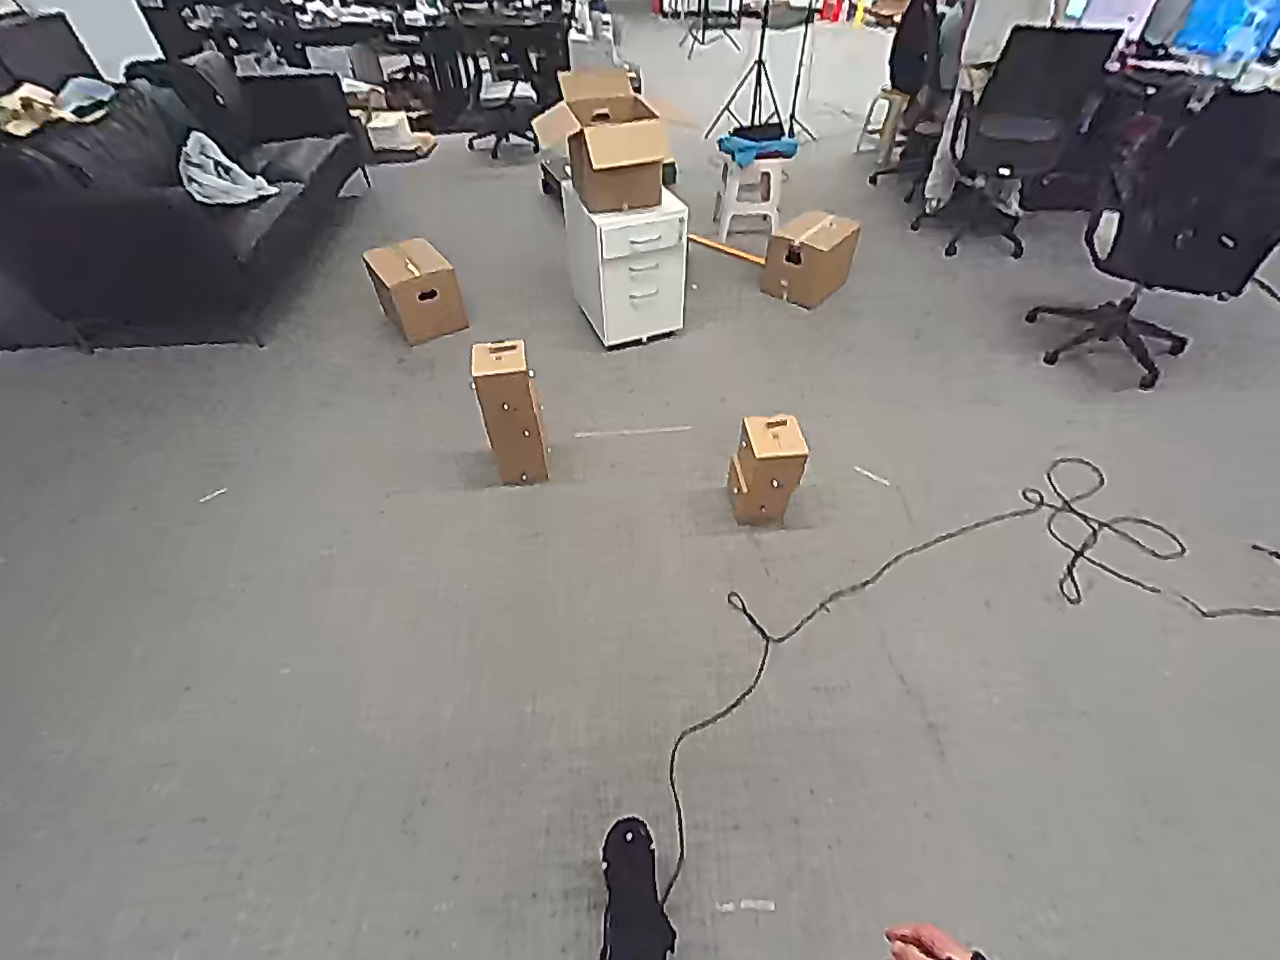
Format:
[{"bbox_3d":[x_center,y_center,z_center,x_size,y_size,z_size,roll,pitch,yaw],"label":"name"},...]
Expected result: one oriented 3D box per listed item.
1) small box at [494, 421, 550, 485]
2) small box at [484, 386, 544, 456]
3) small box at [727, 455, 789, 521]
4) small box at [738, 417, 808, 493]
[{"bbox_3d":[-0.428,-0.099,1.998,0.179,0.176,0.168,-5,47,-3],"label":"small box"},{"bbox_3d":[-0.430,-0.202,1.872,0.179,0.176,0.168,-8,46,-4],"label":"small box"},{"bbox_3d":[0.401,0.028,1.848,0.168,0.176,0.179,-5,48,-4],"label":"small box"},{"bbox_3d":[0.415,-0.079,1.724,0.168,0.176,0.179,-5,49,-2],"label":"small box"}]
